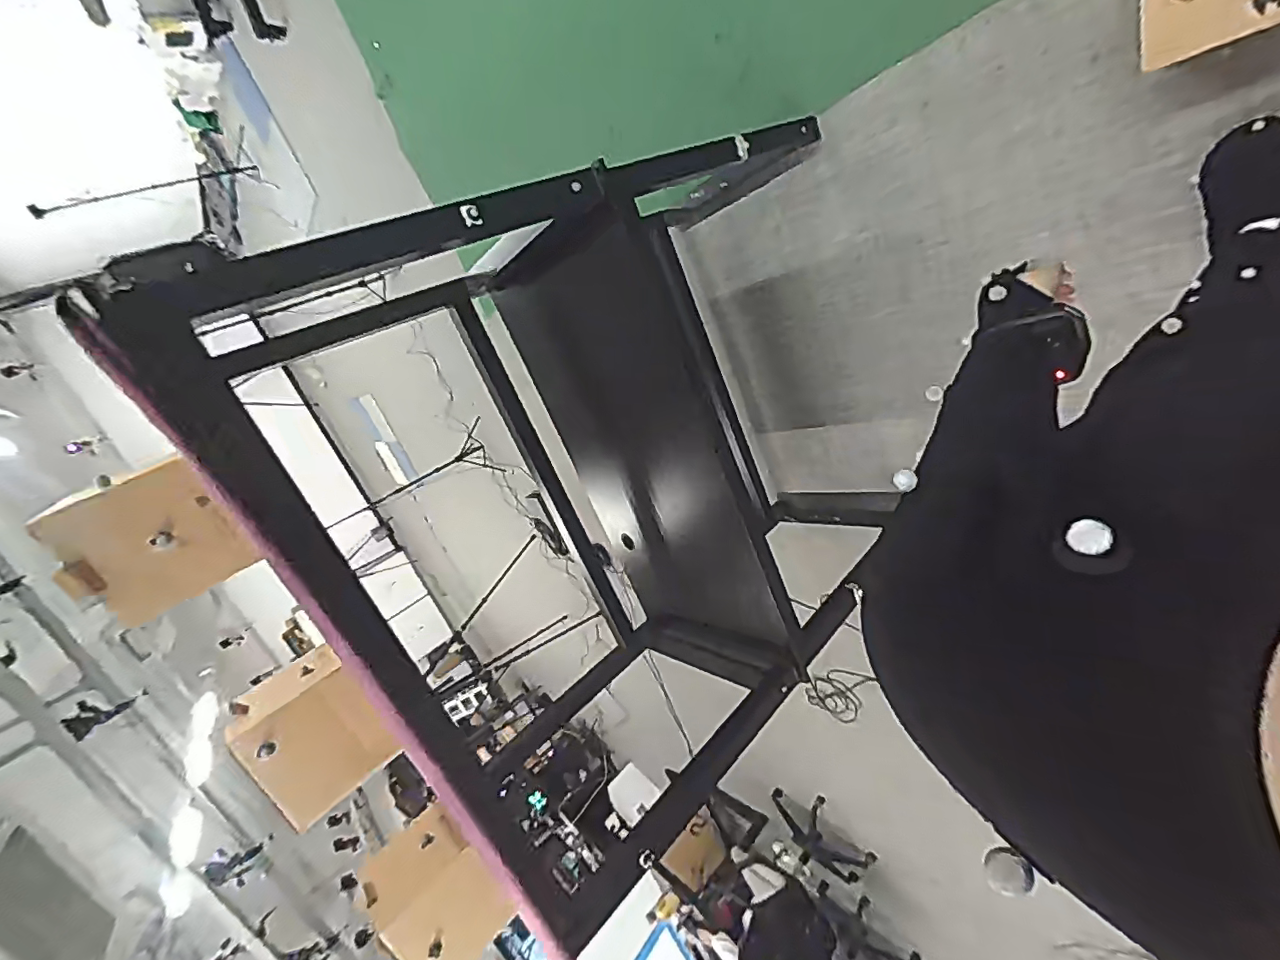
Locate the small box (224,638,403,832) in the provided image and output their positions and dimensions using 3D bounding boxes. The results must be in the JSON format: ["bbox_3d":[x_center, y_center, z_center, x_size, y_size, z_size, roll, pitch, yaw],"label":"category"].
[{"bbox_3d":[-0.497,0.380,0.838,0.168,0.176,0.179,0,119,56],"label":"small box"}]

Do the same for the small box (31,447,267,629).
[{"bbox_3d":[-0.645,0.066,0.738,0.179,0.176,0.168,10,129,52],"label":"small box"}]

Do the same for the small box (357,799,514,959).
[{"bbox_3d":[-0.344,0.699,0.921,0.168,0.176,0.179,-2,116,53],"label":"small box"}]
